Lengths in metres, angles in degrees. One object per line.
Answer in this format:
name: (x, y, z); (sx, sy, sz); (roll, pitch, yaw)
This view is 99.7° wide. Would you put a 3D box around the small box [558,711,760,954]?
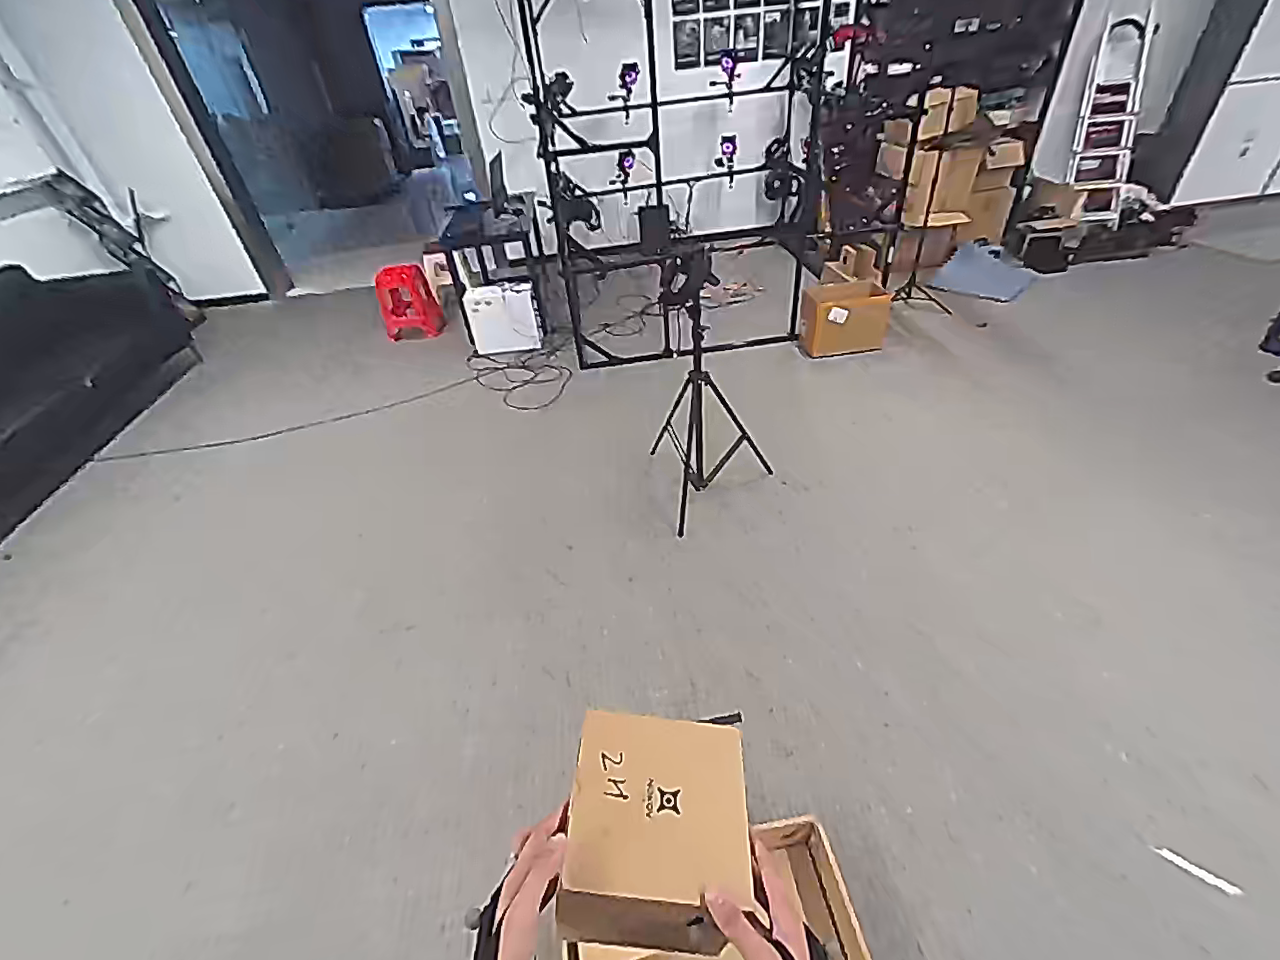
small box: (0.014, 0.374, 0.573); (0.179, 0.176, 0.168); (7, 38, -1)
